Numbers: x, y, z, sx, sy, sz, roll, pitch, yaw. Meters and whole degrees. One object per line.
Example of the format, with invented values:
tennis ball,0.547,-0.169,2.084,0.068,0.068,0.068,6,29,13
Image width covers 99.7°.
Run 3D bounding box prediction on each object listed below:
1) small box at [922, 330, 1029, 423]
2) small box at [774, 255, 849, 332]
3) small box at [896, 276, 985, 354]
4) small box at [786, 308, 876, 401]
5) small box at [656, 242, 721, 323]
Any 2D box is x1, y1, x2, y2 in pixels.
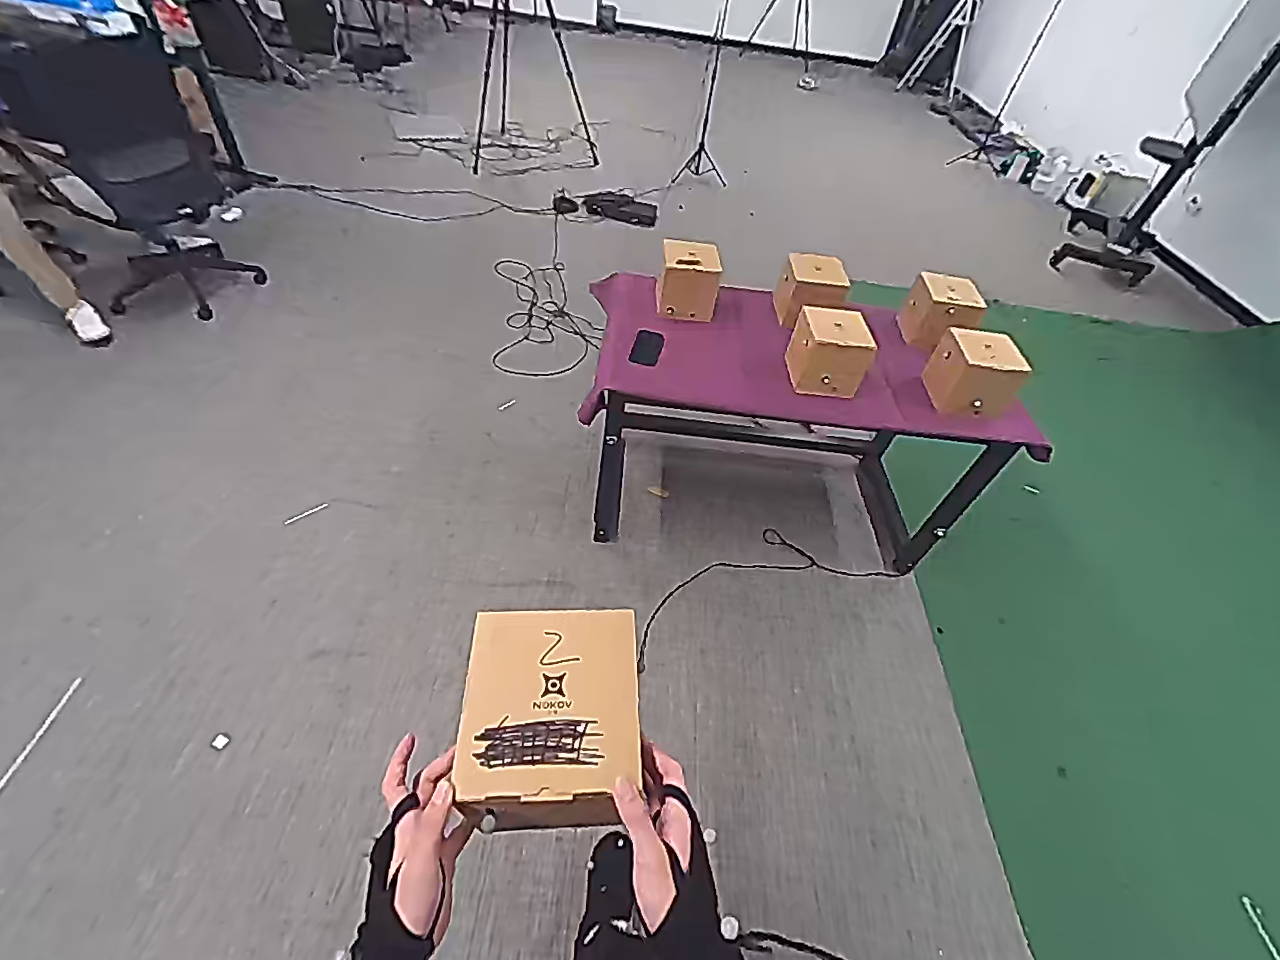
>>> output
small box,0.909,-0.284,1.486,0.168,0.176,0.179,7,47,0
small box,0.529,-0.577,1.698,0.168,0.176,0.179,6,49,-3
small box,0.936,-0.515,1.703,0.168,0.176,0.179,8,47,-1
small box,0.512,-0.343,1.483,0.168,0.176,0.179,5,47,-4
small box,0.143,-0.601,1.656,0.168,0.176,0.179,4,47,-6
